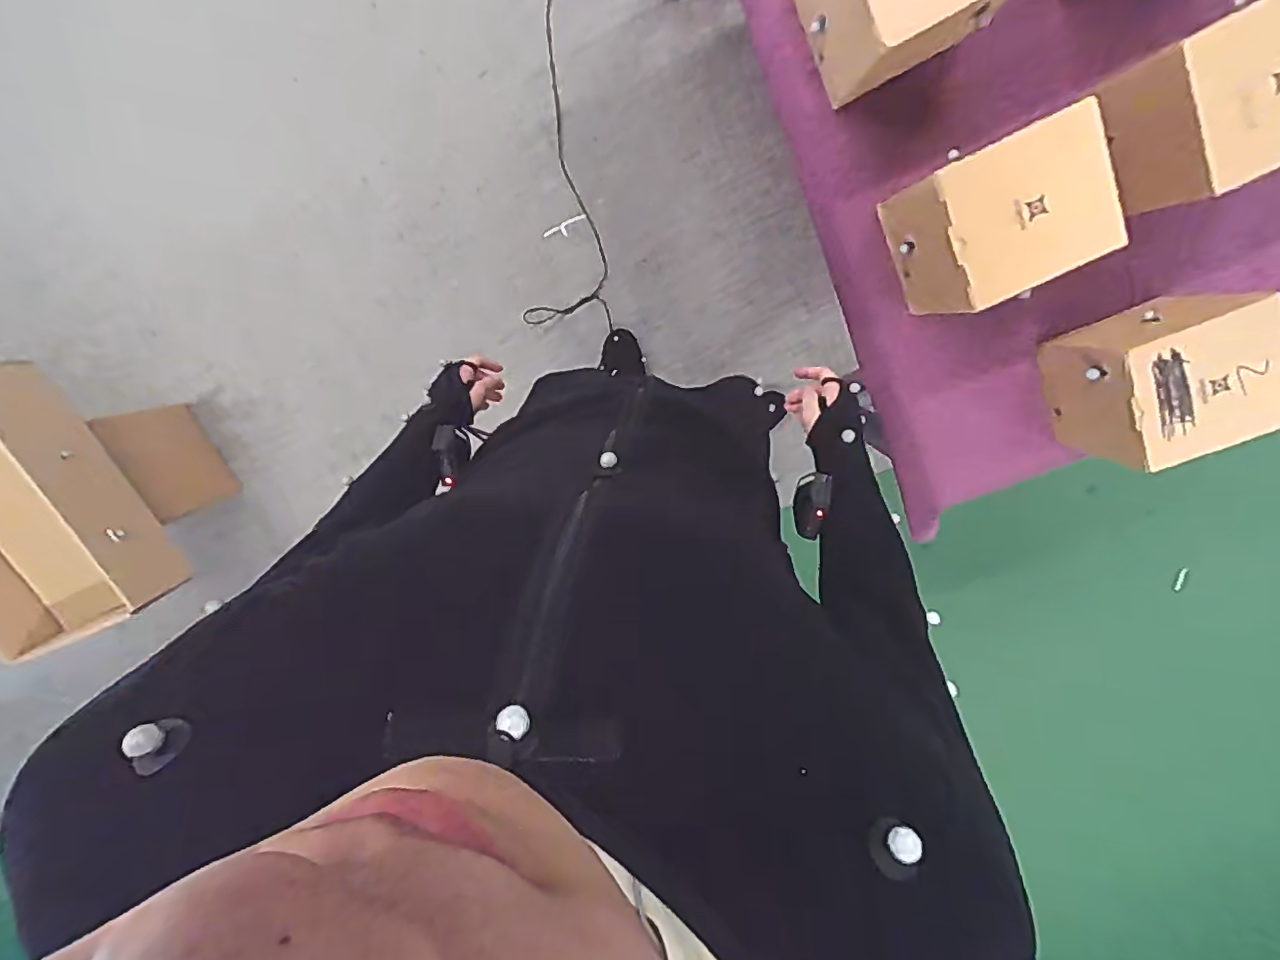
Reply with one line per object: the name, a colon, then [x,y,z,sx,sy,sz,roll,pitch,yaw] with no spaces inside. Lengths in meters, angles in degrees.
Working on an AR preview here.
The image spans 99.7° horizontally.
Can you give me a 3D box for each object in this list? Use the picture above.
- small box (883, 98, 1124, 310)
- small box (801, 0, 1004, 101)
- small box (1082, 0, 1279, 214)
small box: [0.444,-0.330,0.684,0.179,0.176,0.168,-24,105,9]
small box: [0.302,-0.579,0.610,0.179,0.176,0.168,-25,104,9]
small box: [0.678,-0.443,0.639,0.179,0.176,0.168,-24,104,11]
